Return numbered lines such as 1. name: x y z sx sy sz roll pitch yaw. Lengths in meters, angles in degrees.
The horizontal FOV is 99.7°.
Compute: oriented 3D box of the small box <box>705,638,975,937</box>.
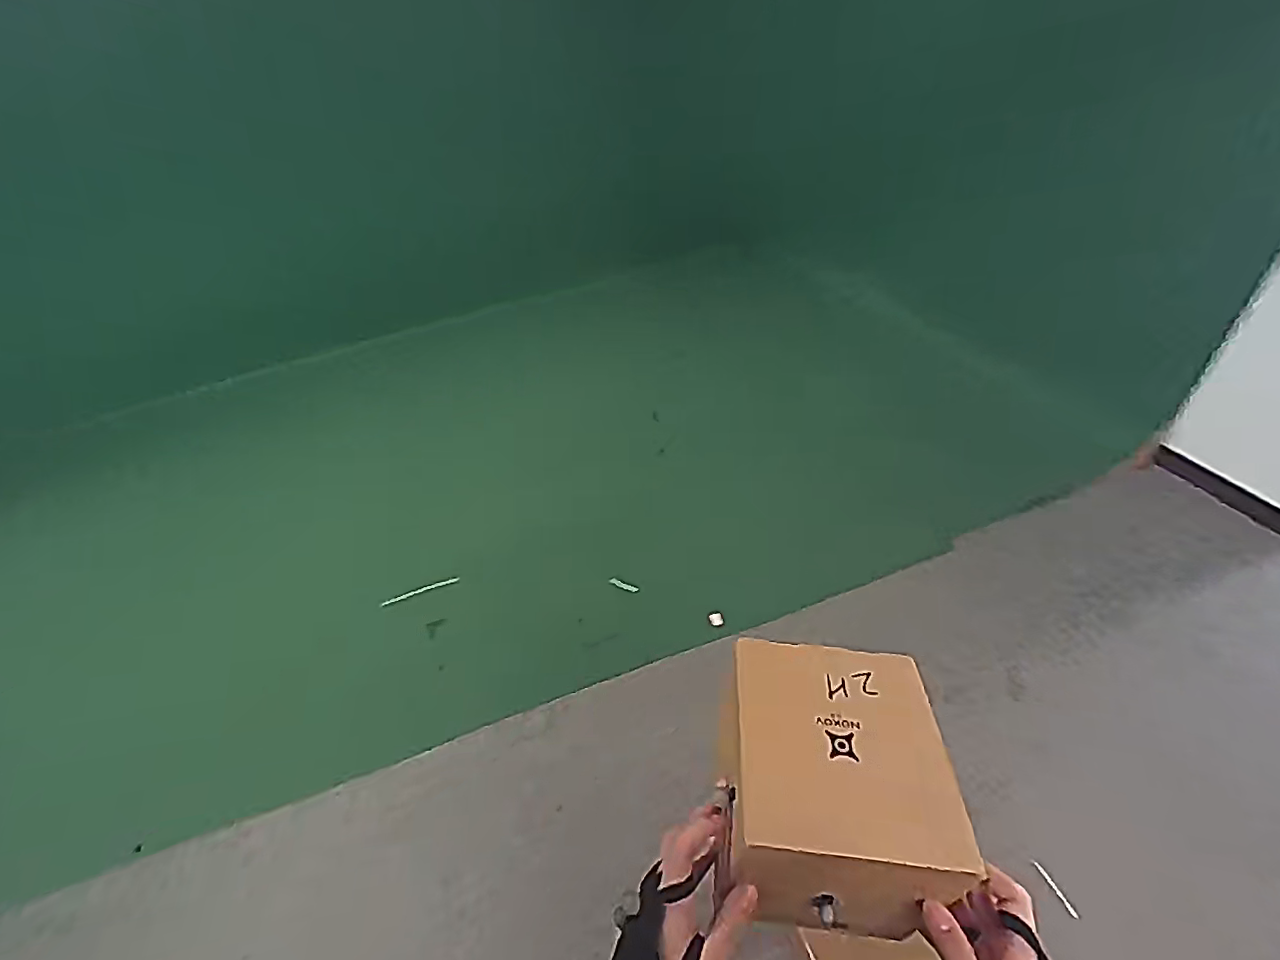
1. small box: 0.151 0.271 0.480 0.168 0.176 0.179 6 37 2
